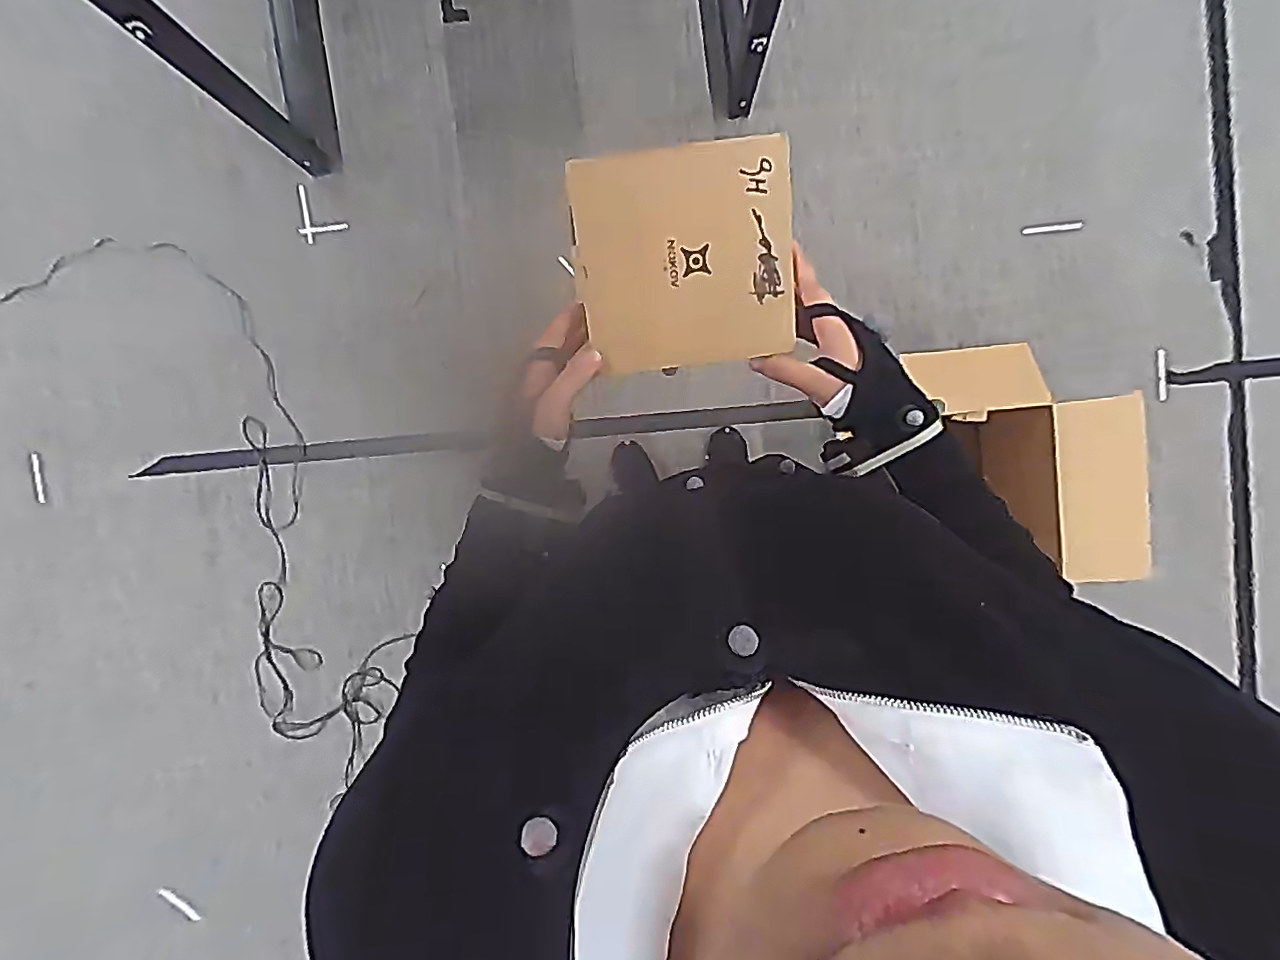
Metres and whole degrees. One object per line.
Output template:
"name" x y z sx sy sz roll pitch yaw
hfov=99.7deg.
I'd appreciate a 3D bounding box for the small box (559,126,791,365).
"small box" 0.032 -0.202 0.506 0.179 0.176 0.168 -6 107 1
